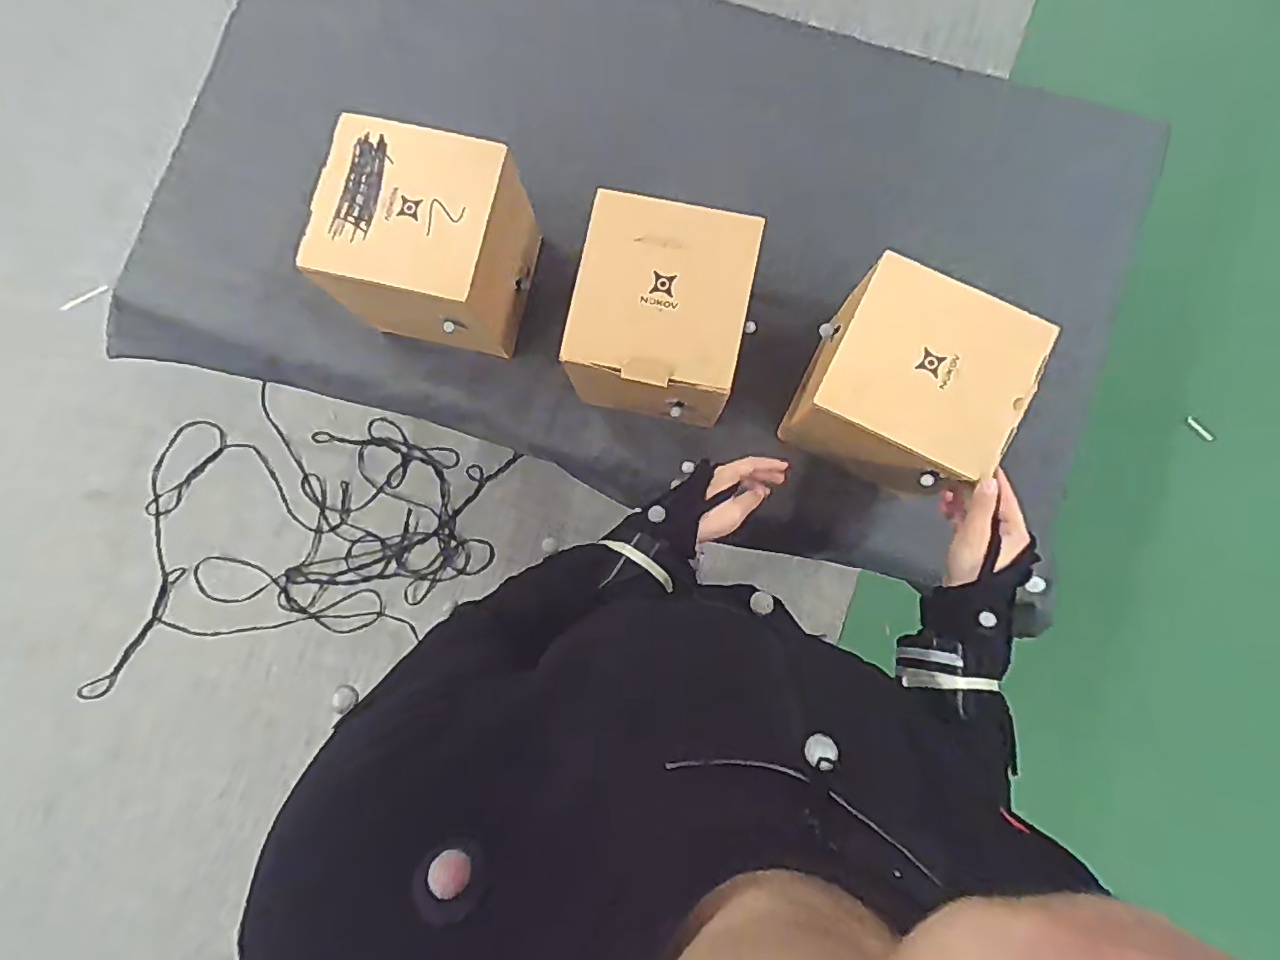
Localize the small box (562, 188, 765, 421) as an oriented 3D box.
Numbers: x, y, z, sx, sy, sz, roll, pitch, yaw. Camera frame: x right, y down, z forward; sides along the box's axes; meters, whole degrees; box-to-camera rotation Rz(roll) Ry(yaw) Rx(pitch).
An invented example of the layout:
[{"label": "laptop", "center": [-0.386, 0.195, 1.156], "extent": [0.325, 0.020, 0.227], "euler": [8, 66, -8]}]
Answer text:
[{"label": "small box", "center": [0.025, -0.173, 0.588], "extent": [0.168, 0.176, 0.179], "euler": [11, 84, 2]}]
